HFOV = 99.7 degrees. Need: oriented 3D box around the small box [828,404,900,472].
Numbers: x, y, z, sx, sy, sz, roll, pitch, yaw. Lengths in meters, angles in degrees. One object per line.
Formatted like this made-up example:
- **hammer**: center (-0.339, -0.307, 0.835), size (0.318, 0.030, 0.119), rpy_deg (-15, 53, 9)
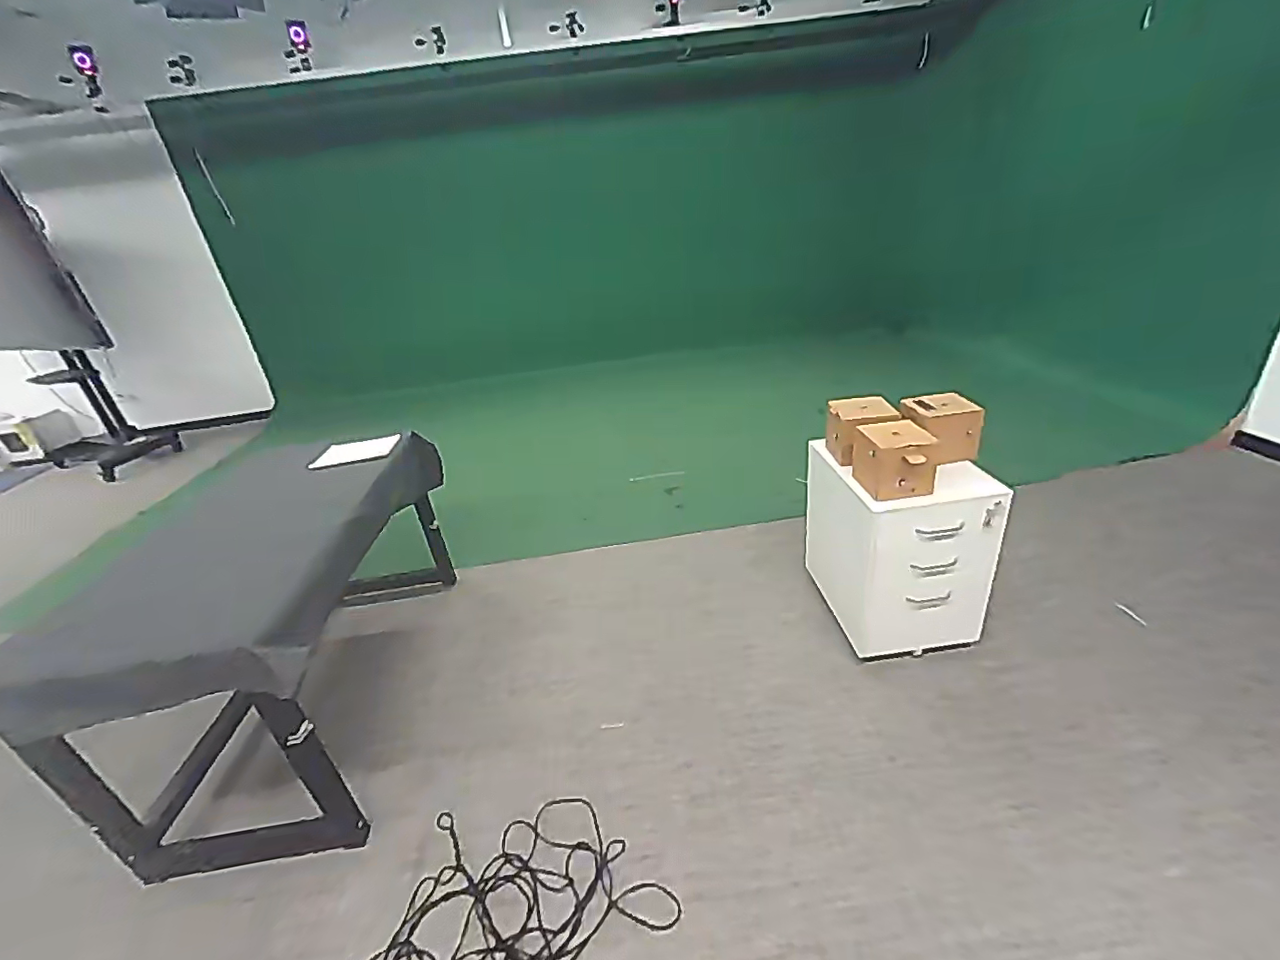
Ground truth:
- **small box**: center (0.724, -0.136, 1.766), size (0.179, 0.176, 0.168), rpy_deg (-5, 28, 2)
